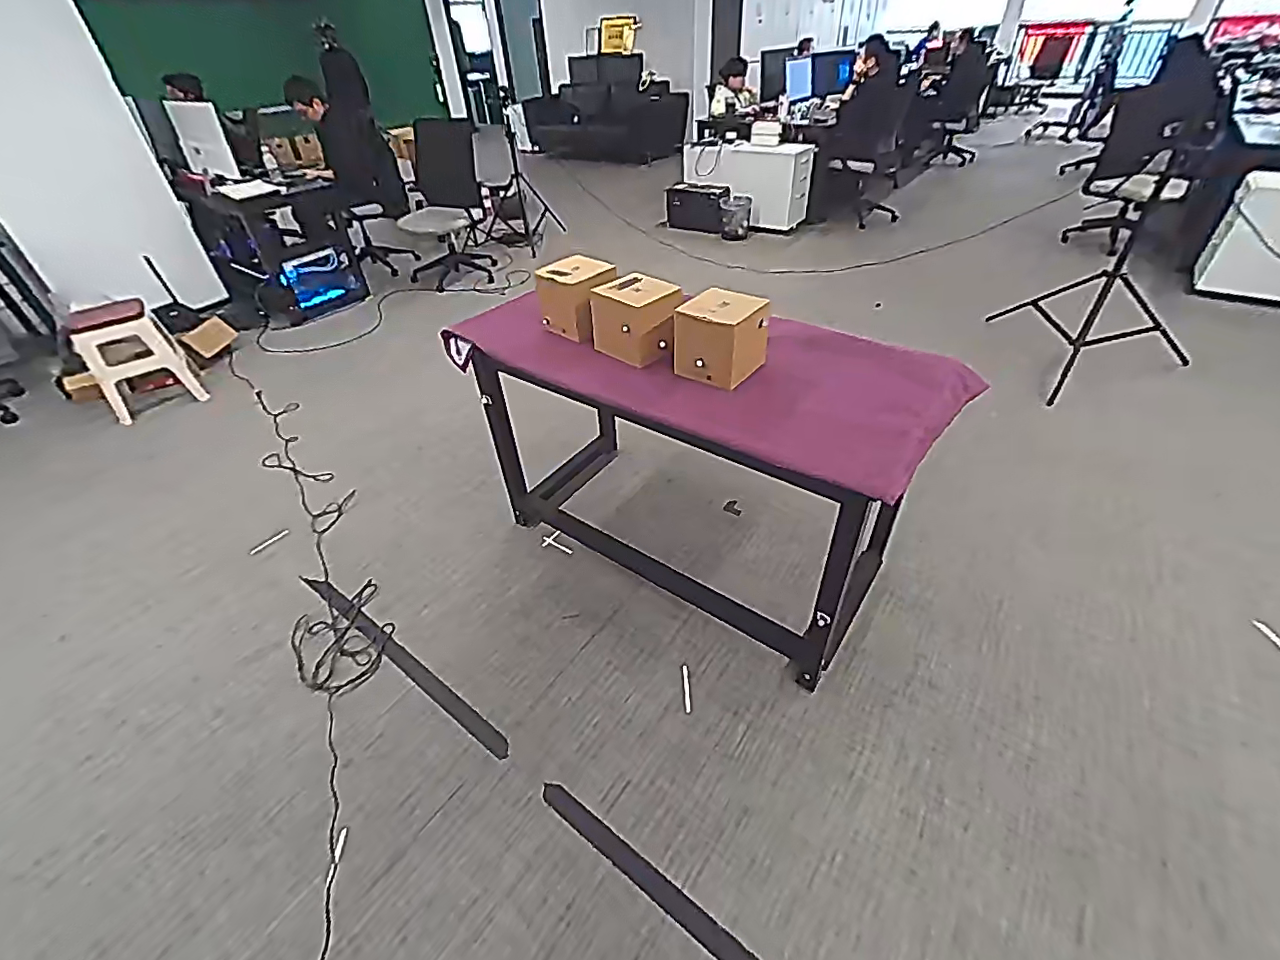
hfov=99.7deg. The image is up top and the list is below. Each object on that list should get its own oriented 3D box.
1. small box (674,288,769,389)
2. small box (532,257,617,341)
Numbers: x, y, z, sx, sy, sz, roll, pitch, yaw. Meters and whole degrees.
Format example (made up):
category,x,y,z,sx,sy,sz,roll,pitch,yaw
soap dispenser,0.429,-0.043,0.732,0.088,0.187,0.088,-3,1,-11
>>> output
category,x,y,z,sx,sy,sz,roll,pitch,yaw
small box,0.196,-0.350,1.334,0.168,0.176,0.179,24,47,30
small box,-0.182,-0.524,1.568,0.168,0.176,0.179,29,50,32
